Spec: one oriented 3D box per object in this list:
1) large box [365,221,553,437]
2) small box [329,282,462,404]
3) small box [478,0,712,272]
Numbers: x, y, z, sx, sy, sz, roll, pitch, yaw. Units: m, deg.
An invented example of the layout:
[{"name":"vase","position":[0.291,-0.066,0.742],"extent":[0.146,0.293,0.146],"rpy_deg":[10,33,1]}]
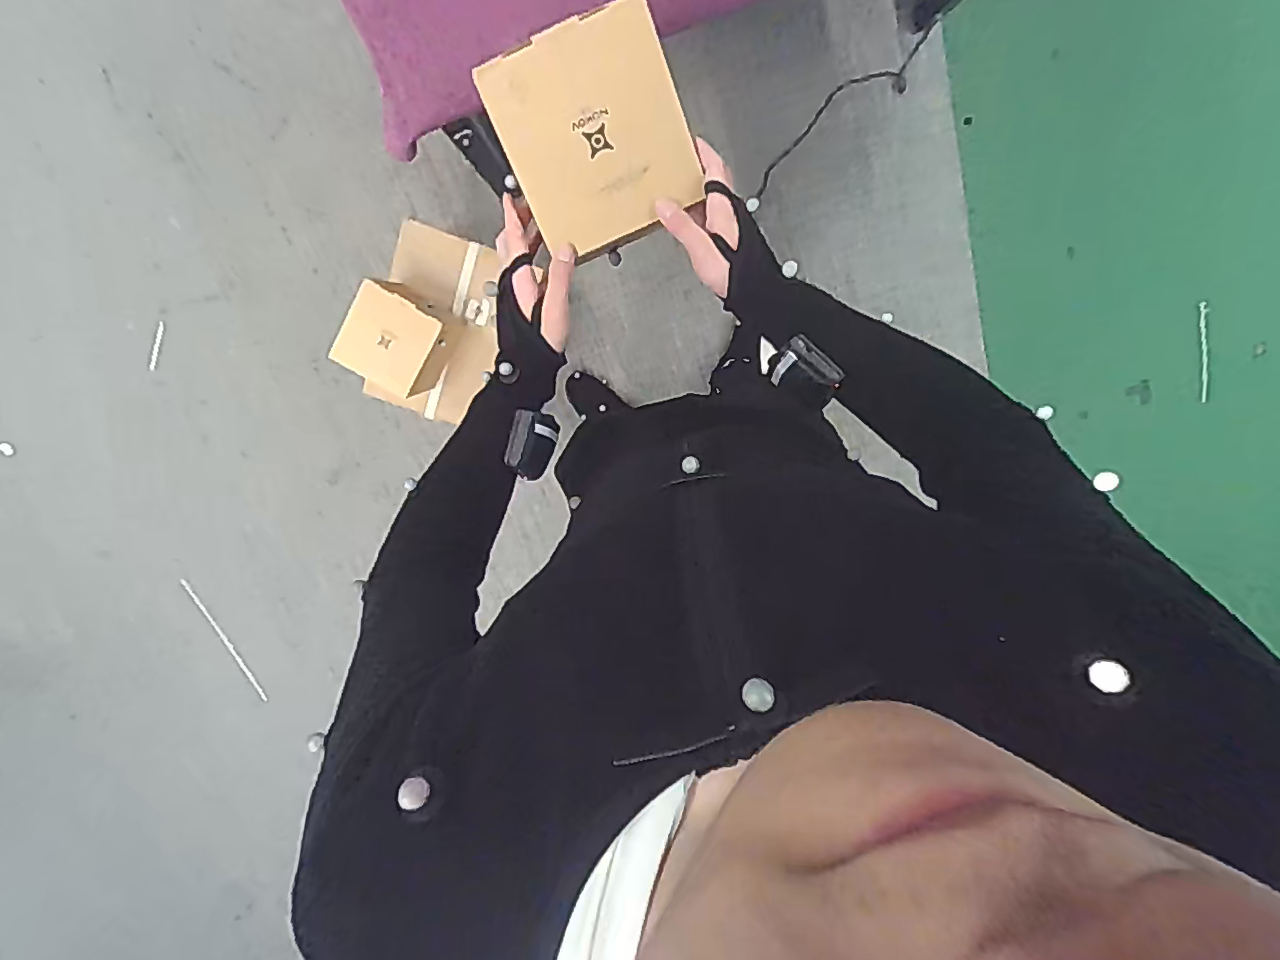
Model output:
[{"name":"large box","position":[-0.433,-0.361,1.355],"extent":[0.320,0.320,0.408],"rpy_deg":[18,103,-9]},{"name":"small box","position":[-0.494,-0.281,1.120],"extent":[0.168,0.176,0.179],"rpy_deg":[30,102,-9]},{"name":"small box","position":[-0.044,-0.333,0.563],"extent":[0.168,0.176,0.179],"rpy_deg":[-22,109,3]}]
